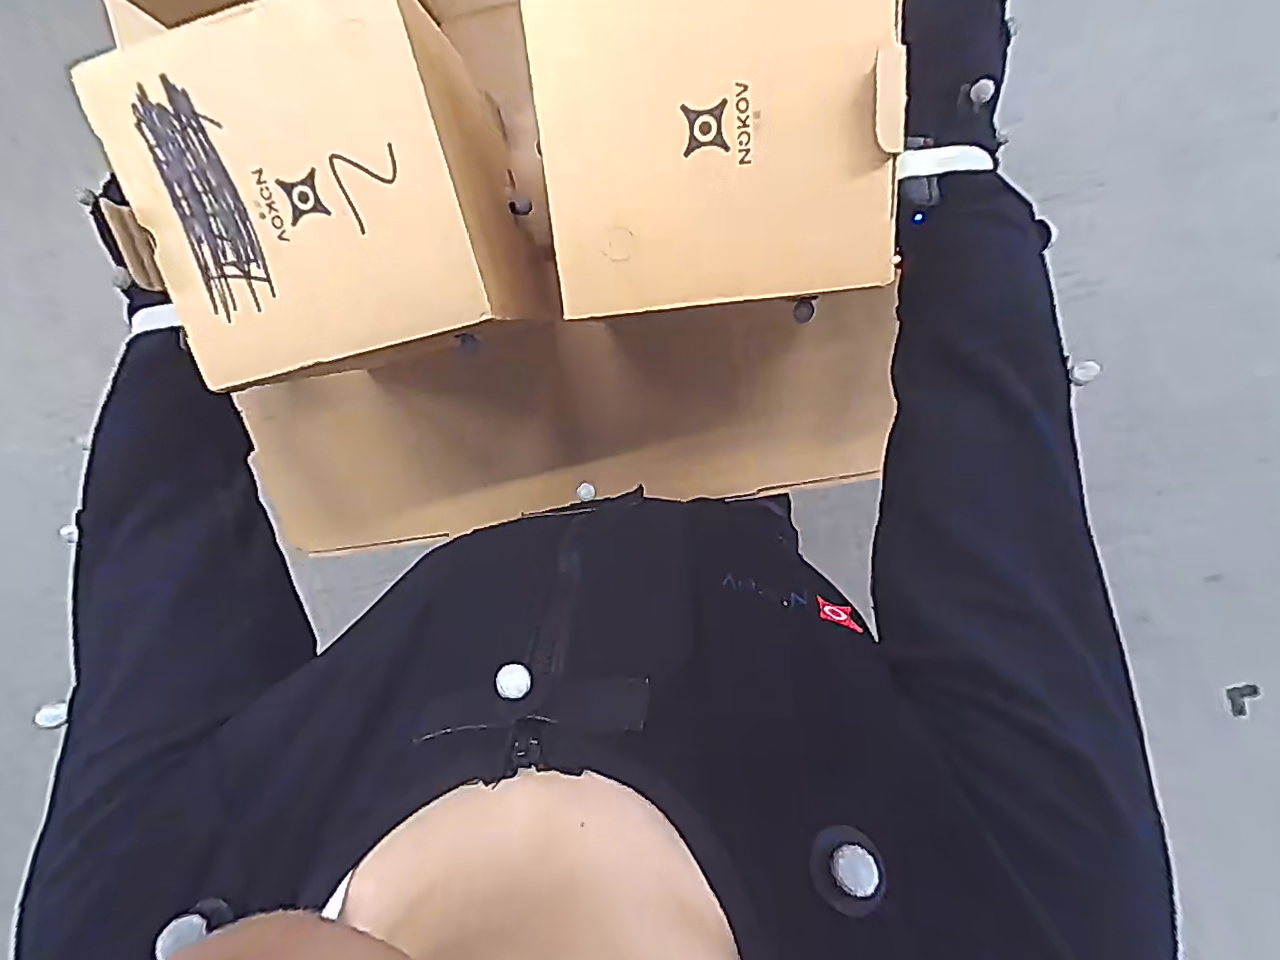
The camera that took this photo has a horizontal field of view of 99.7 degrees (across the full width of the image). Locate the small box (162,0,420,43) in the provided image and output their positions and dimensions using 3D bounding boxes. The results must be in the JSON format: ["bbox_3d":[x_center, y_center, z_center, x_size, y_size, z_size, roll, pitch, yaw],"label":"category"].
[{"bbox_3d":[-0.252,-0.399,0.312,0.168,0.176,0.179,-10,100,5],"label":"small box"}]
